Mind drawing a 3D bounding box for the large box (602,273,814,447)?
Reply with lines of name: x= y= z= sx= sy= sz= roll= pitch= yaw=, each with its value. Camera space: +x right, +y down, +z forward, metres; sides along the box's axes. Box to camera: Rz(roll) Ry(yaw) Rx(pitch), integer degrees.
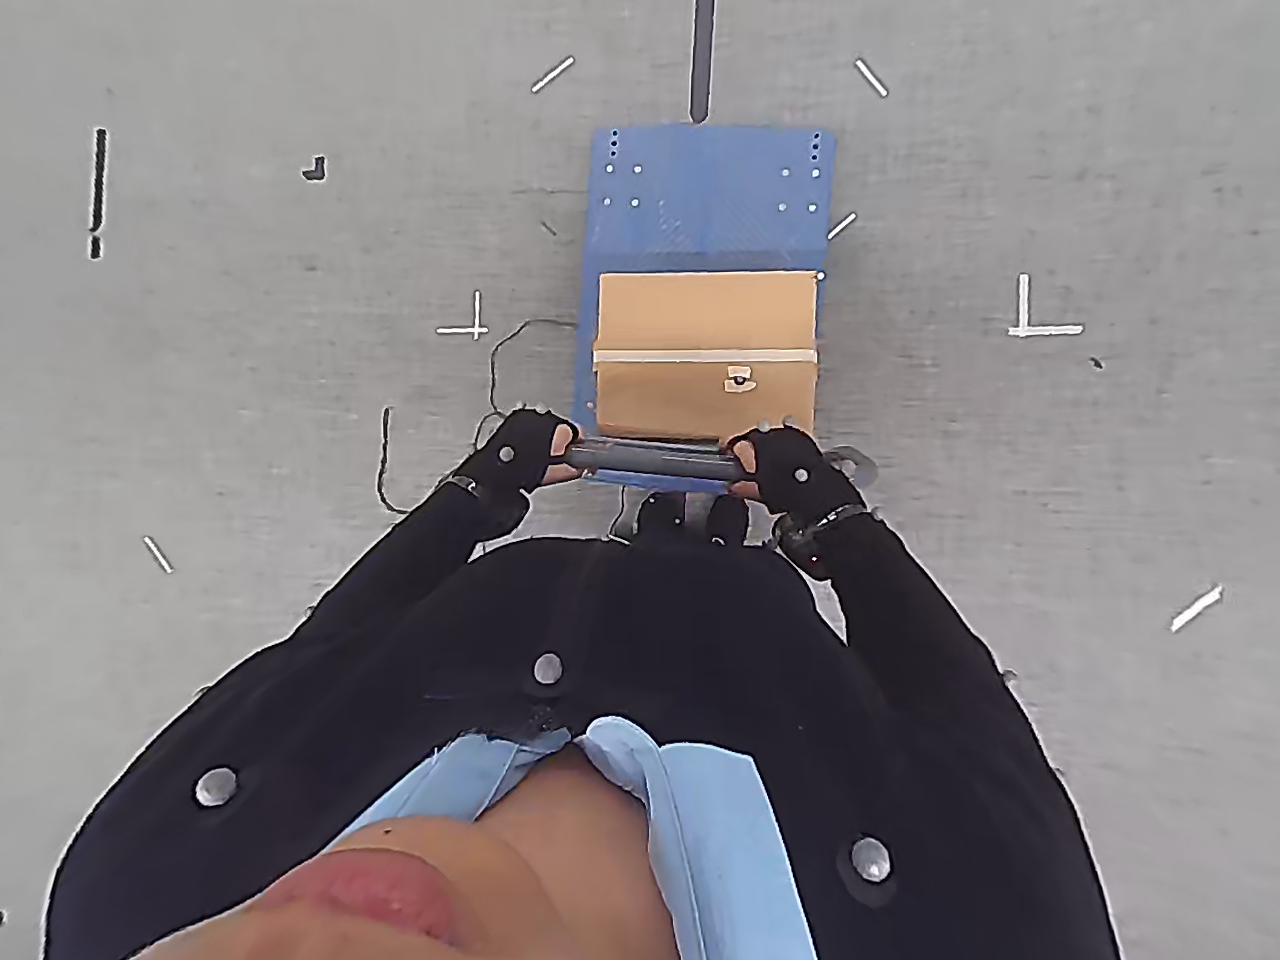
large box: x=0.136 y=-0.235 z=1.172 sx=0.408 sy=0.320 sz=0.320 roll=1 pitch=91 yaw=5
